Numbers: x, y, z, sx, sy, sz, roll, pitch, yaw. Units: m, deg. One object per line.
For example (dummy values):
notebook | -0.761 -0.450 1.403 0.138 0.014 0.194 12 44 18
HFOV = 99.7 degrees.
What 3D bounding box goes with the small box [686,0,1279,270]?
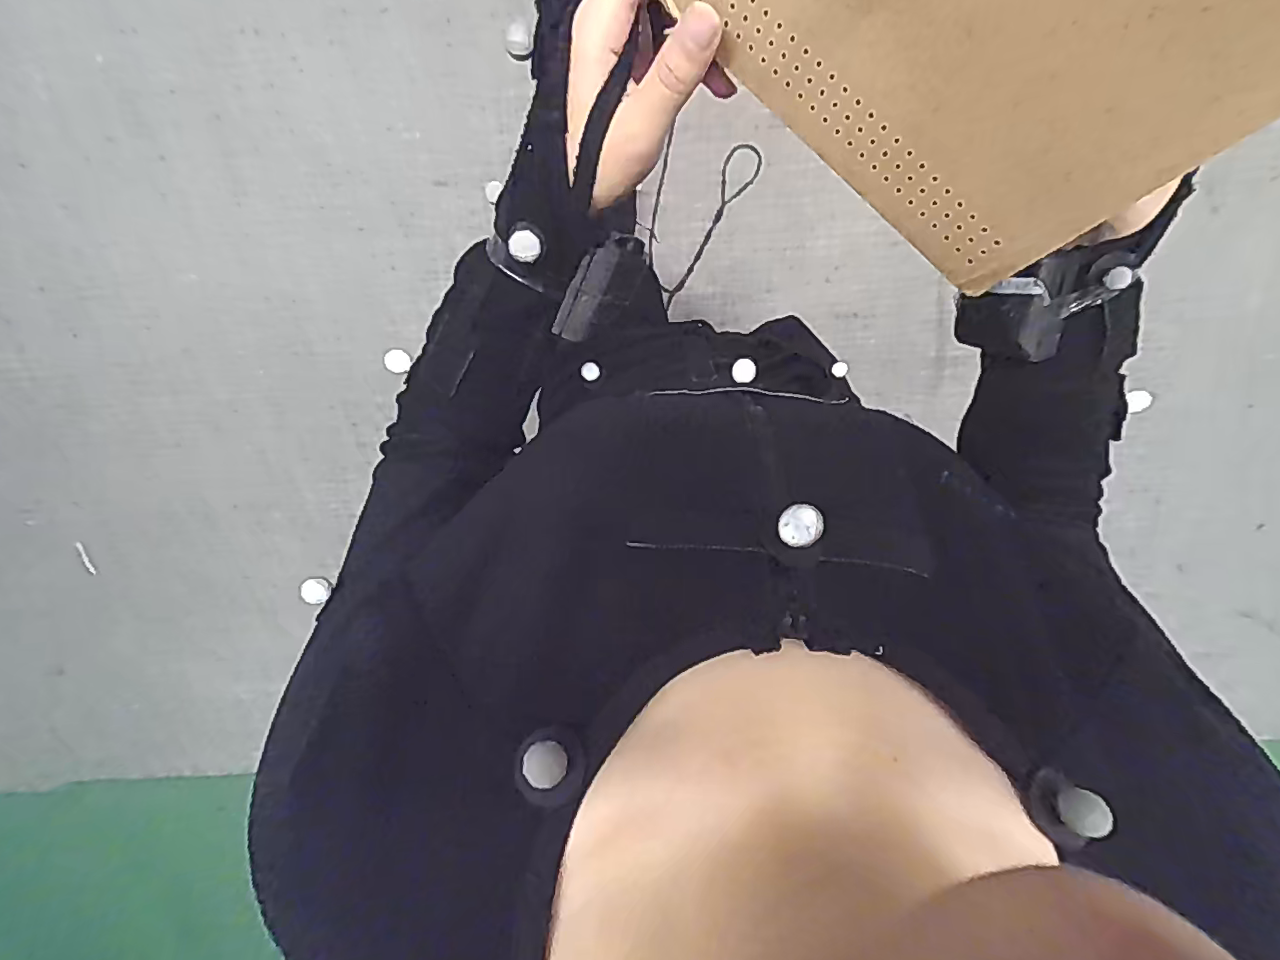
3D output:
small box | 0.136 -0.202 0.158 0.179 0.176 0.168 41 82 -1
